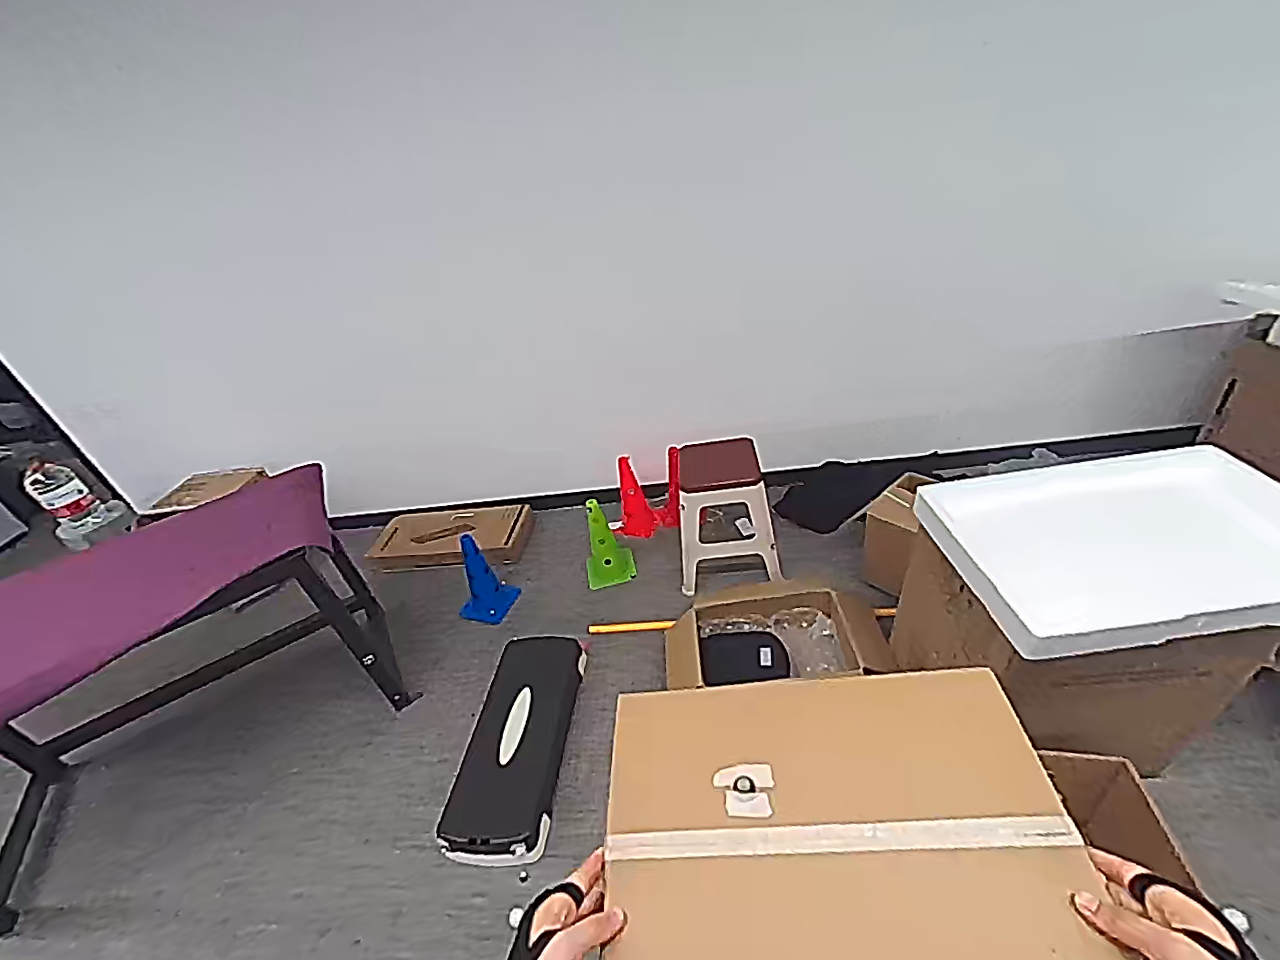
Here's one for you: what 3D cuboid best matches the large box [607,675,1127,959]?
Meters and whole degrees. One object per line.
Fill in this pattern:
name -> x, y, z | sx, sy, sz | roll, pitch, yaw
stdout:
large box -> 0.200, 0.449, 0.579 | 0.408, 0.320, 0.320 | -9, 36, 9
